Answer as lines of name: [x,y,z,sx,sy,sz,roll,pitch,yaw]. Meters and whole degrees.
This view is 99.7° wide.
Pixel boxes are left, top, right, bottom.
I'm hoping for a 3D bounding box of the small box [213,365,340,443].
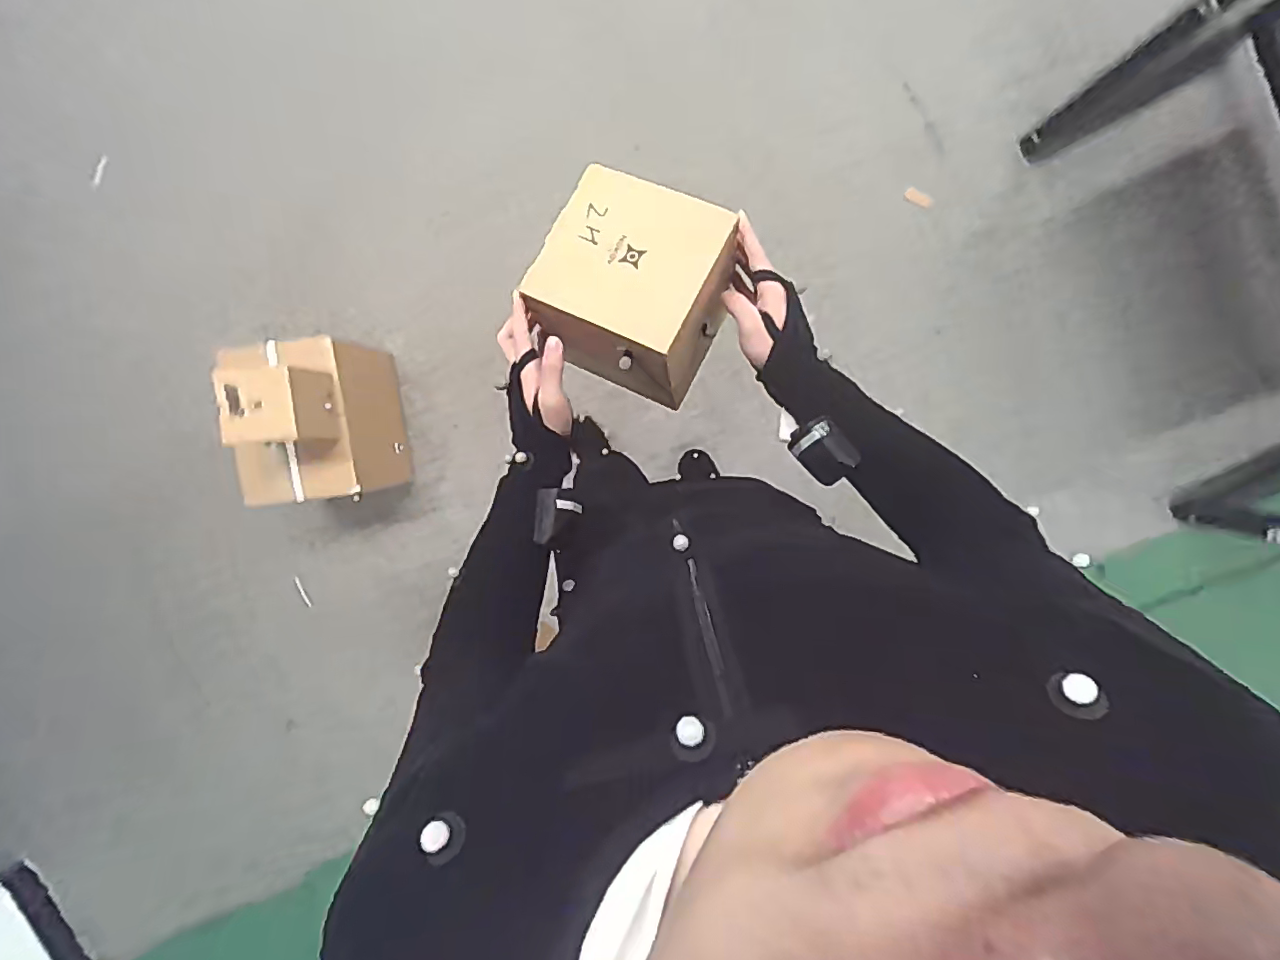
small box: [-0.849,-0.175,1.277,0.179,0.176,0.168,-5,96,2]
